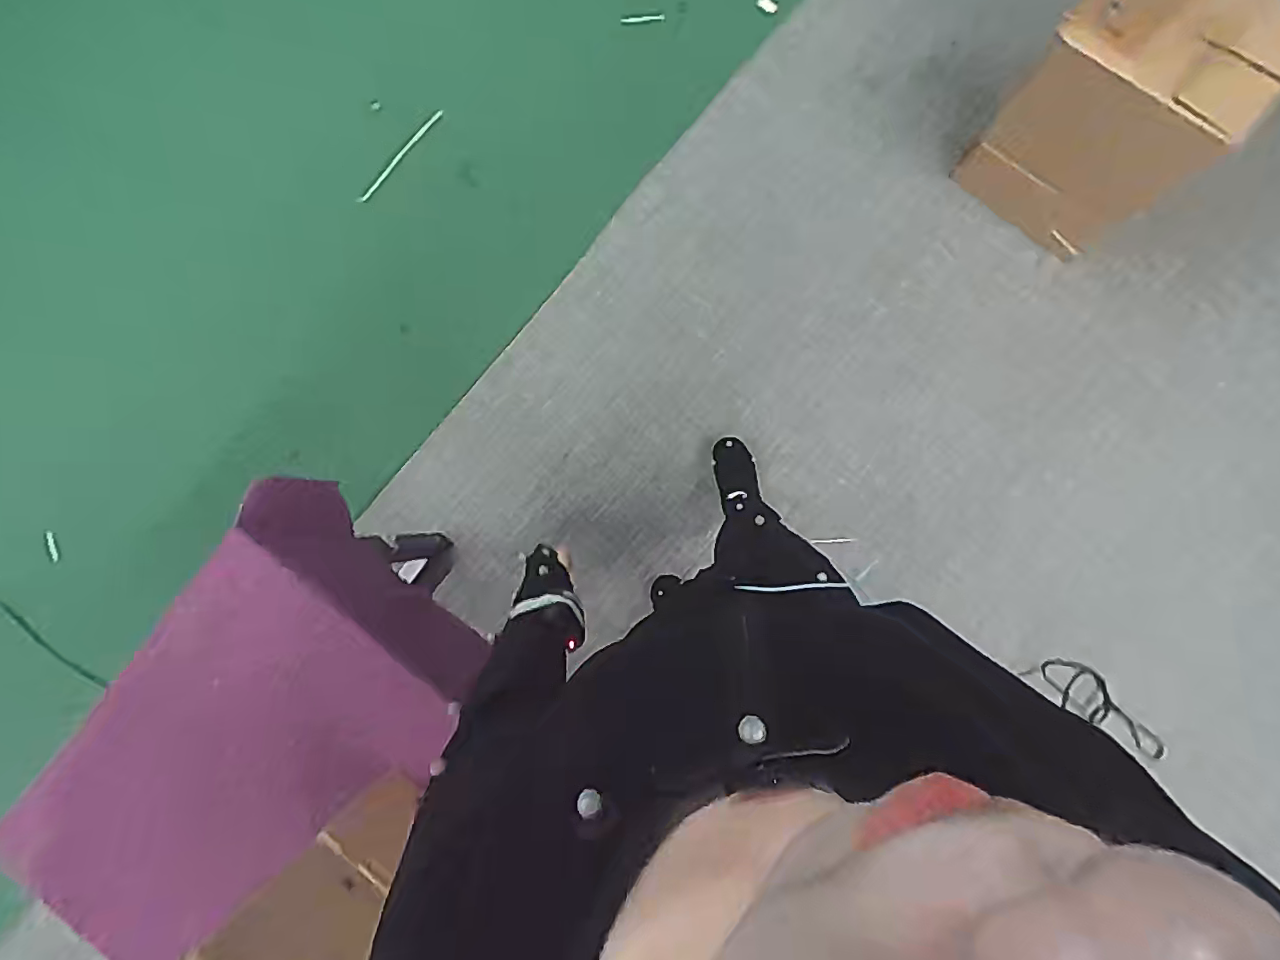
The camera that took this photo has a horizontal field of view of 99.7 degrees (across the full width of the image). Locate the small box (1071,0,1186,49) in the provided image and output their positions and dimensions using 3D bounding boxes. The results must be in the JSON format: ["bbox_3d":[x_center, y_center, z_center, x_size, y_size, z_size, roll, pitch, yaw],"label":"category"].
[{"bbox_3d":[0.956,-0.963,0.990,0.168,0.176,0.179,38,91,5],"label":"small box"}]
